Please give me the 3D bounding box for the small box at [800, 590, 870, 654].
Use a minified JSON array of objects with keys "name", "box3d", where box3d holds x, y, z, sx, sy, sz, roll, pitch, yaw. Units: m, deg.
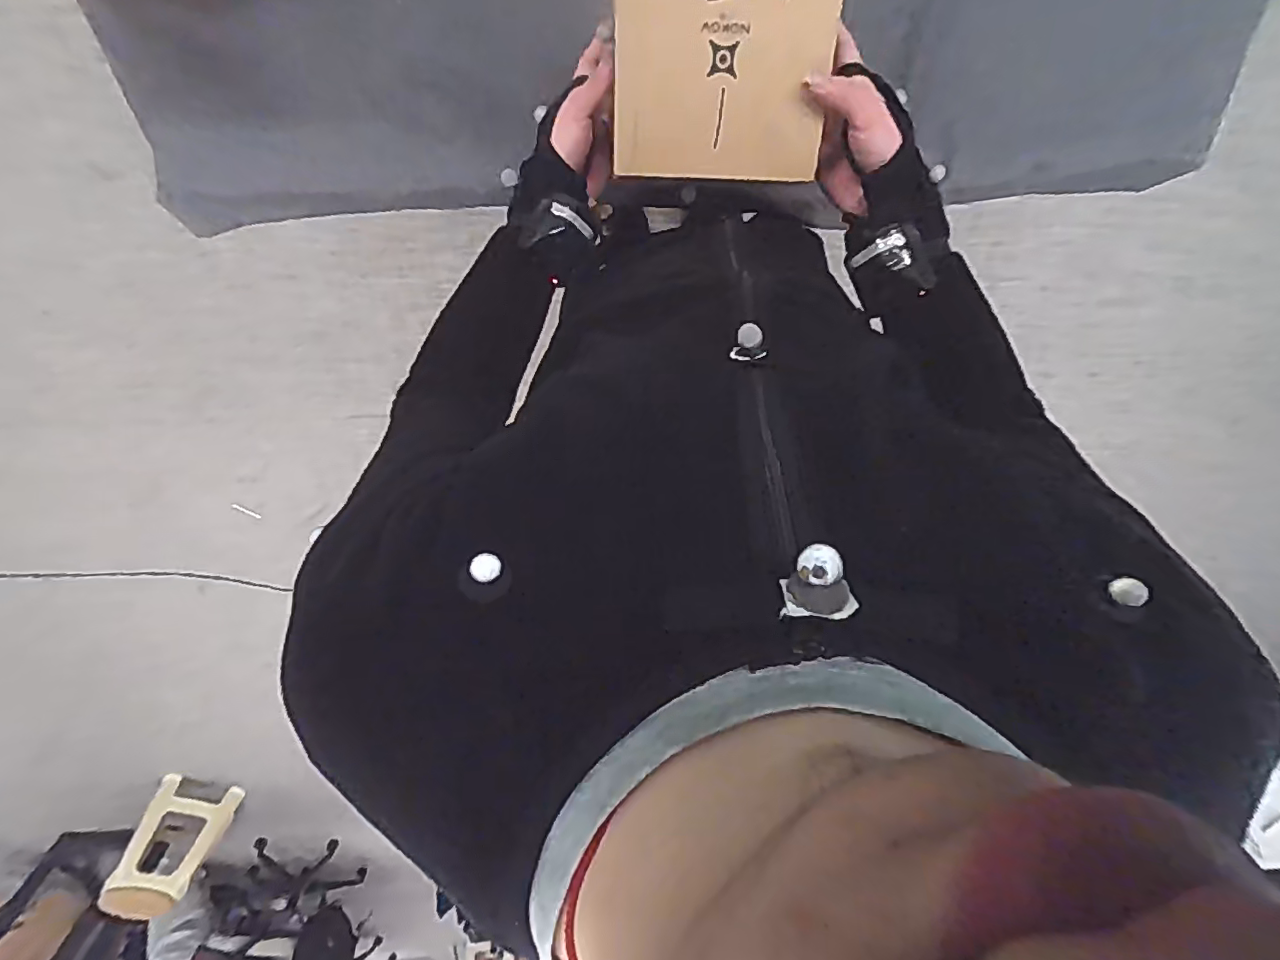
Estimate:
[{"name":"small box","box3d":[0.745,0.546,2.084,0.179,0.176,0.168,8,121,-8]}]
